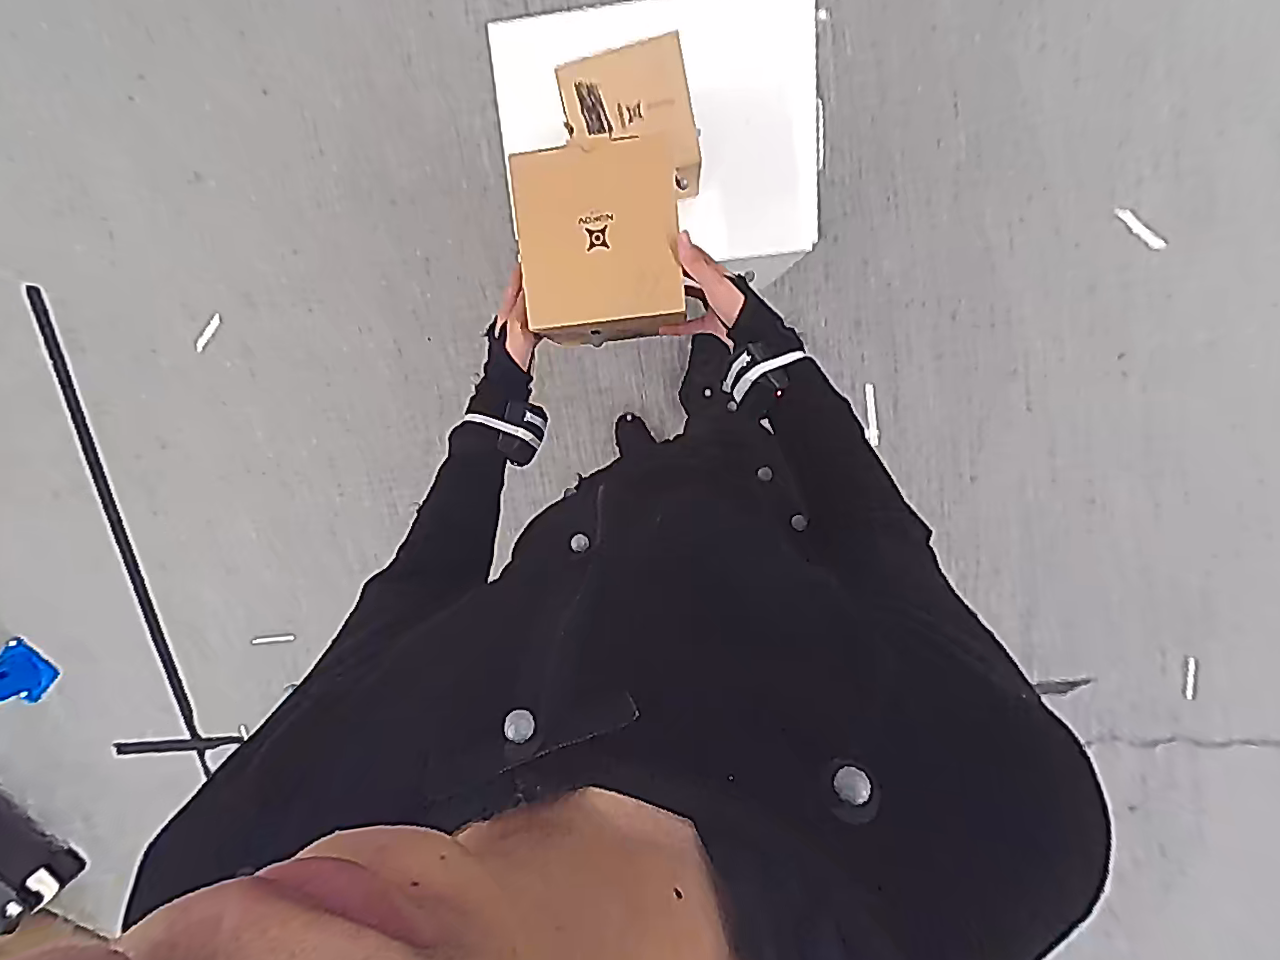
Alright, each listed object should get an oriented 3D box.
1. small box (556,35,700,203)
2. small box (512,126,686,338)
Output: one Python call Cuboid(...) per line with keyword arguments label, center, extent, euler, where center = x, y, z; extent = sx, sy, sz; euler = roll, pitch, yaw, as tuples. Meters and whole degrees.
Cuboid(label="small box", center=(-0.009, -0.516, 0.823), extent=(0.179, 0.176, 0.168), euler=(-11, 102, 6))
Cuboid(label="small box", center=(-0.034, -0.264, 0.623), extent=(0.168, 0.176, 0.179), euler=(-5, 96, 5))
